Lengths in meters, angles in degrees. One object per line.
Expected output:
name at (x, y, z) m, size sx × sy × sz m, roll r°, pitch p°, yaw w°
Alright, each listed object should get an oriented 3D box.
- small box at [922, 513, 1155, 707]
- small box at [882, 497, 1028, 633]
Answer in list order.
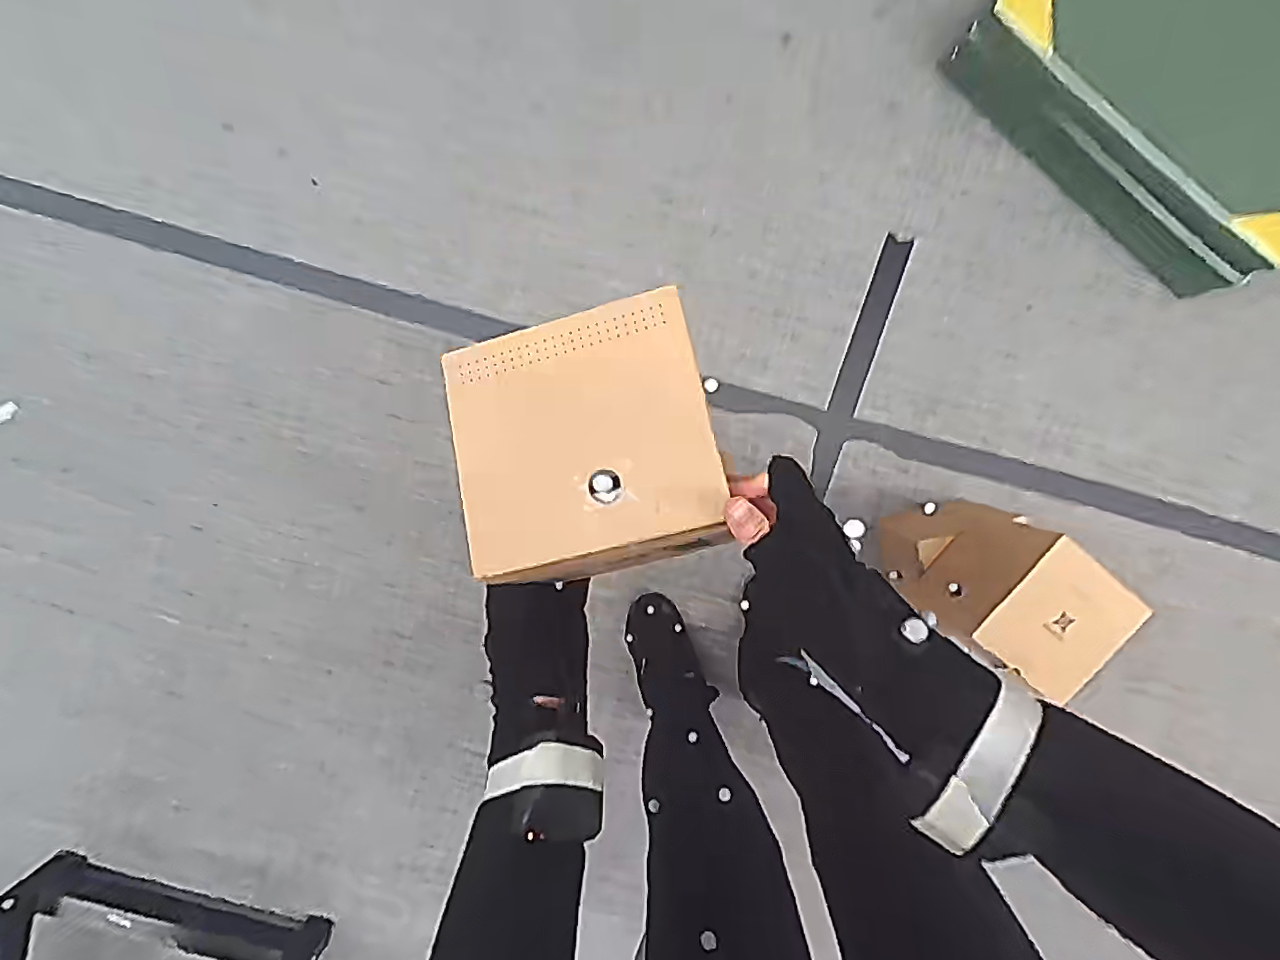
small box at (0.540, 0.171, 0.768) m, size 0.168 × 0.176 × 0.179 m, roll 39°, pitch 96°, yaw -5°
small box at (0.541, 0.137, 0.931) m, size 0.179 × 0.176 × 0.168 m, roll -17°, pitch 96°, yaw 2°
